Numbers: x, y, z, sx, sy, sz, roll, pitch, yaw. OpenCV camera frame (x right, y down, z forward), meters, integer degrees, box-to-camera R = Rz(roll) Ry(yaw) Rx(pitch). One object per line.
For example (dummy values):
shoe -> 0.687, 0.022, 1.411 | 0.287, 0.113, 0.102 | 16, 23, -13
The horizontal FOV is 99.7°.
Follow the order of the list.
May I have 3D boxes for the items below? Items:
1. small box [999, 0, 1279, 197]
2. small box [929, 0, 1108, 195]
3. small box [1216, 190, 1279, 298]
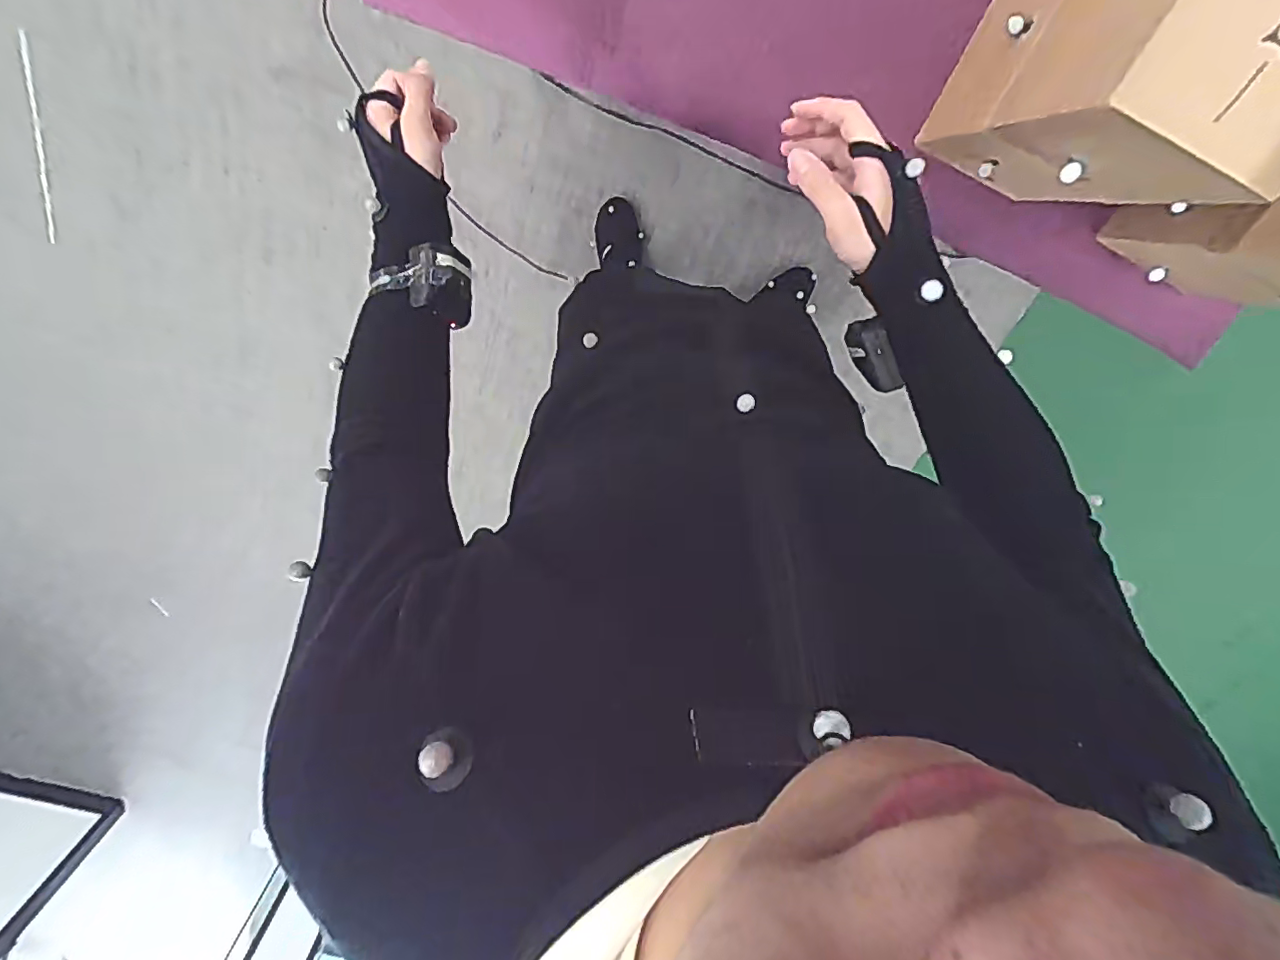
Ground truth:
small box -> 0.442, -0.351, 0.431 | 0.168, 0.176, 0.179 | 22, 117, -9
small box -> 0.445, -0.427, 0.577 | 0.168, 0.176, 0.179 | 21, 116, -9
small box -> 0.700, -0.246, 0.474 | 0.168, 0.176, 0.179 | 24, 116, -9
